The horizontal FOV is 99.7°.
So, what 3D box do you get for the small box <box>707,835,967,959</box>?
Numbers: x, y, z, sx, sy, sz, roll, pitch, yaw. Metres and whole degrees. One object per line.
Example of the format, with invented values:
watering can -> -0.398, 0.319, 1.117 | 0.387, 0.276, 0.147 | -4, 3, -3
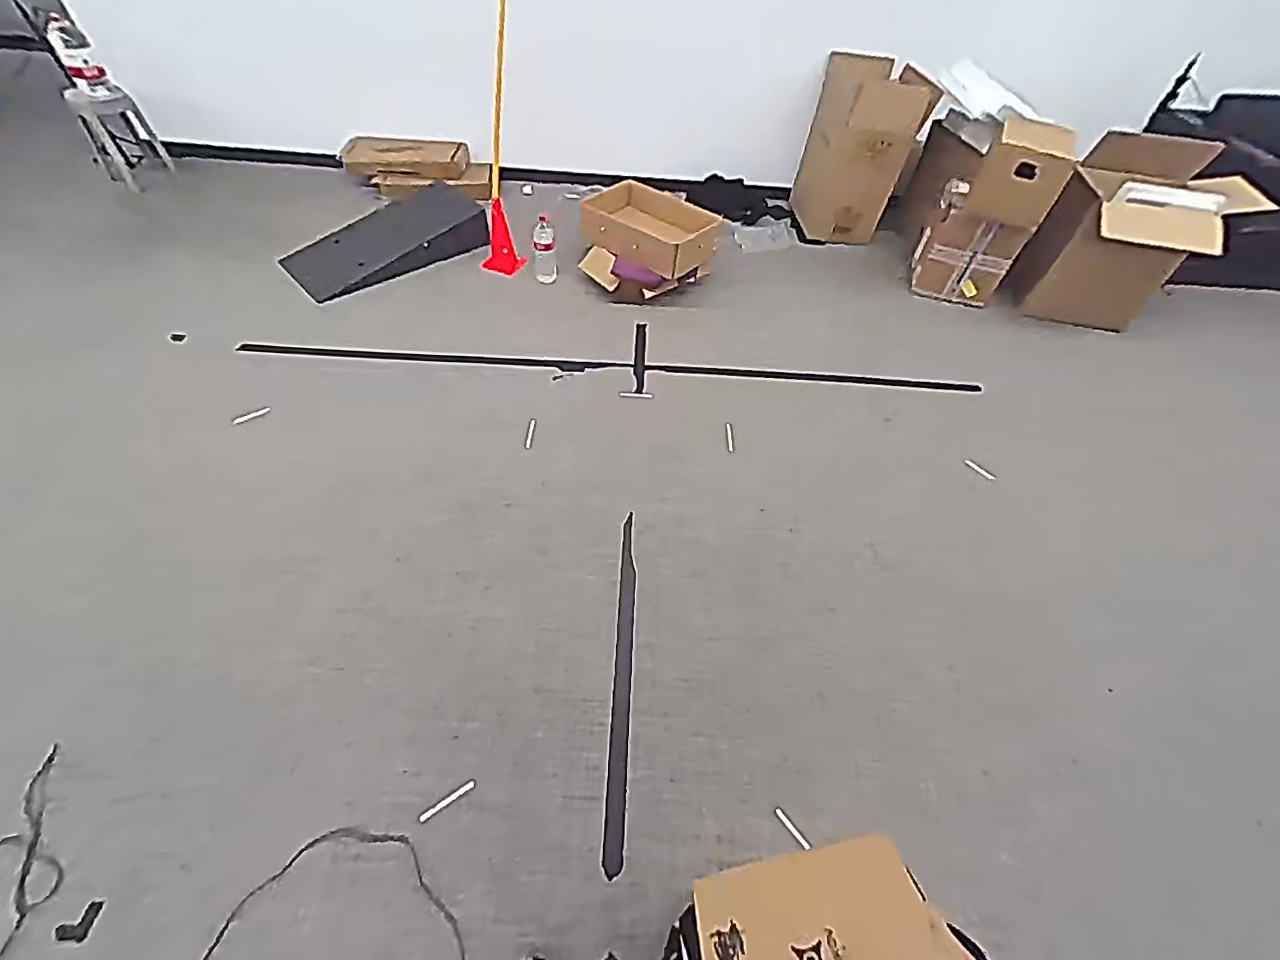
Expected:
small box -> 0.161, 0.423, 0.413 | 0.179, 0.176, 0.168 | -14, 12, 2
